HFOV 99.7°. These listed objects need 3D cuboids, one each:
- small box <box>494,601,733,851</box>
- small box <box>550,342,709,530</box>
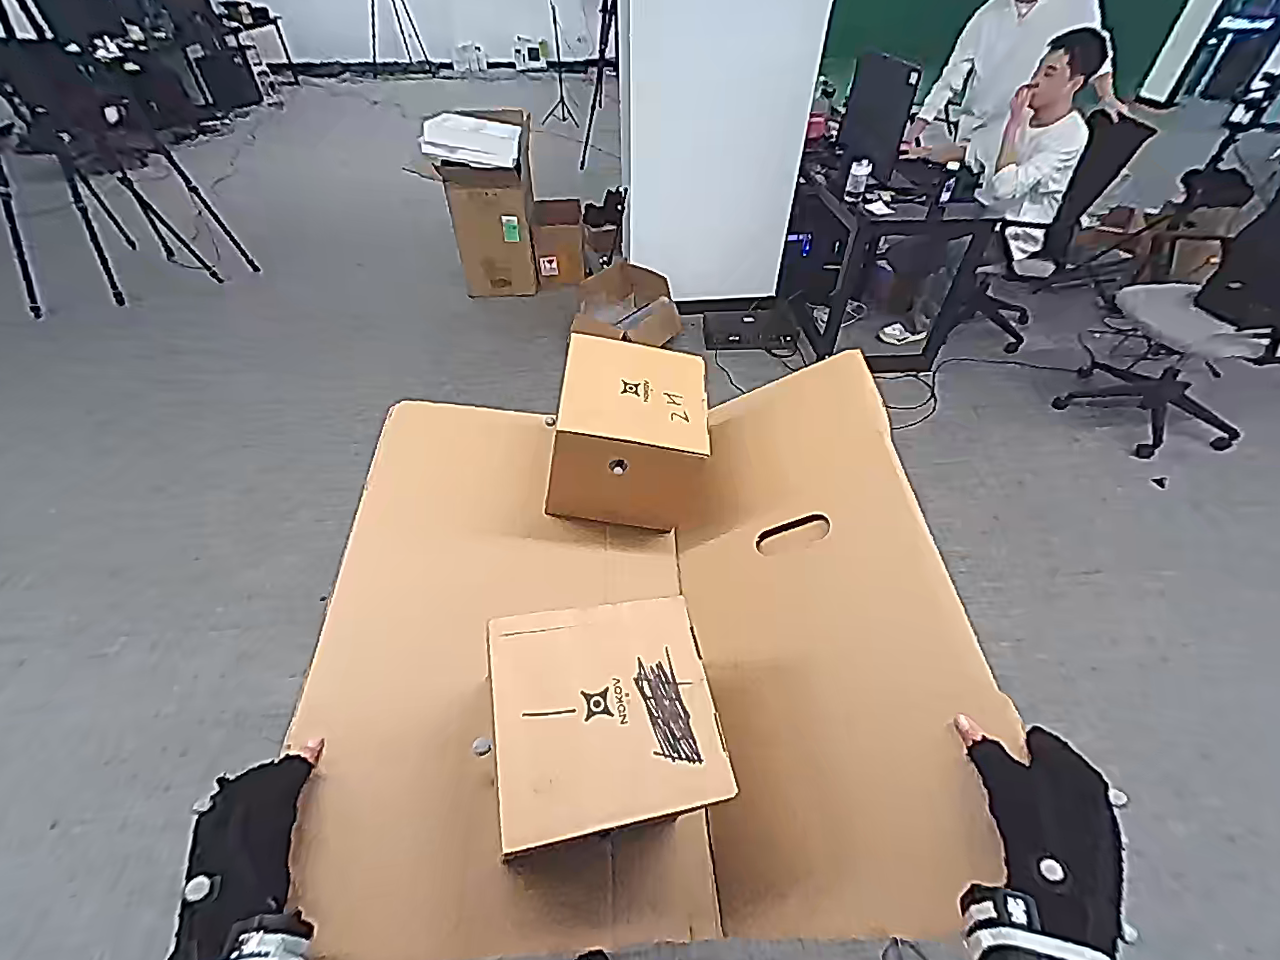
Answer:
[{"bbox_3d":[-0.041,0.227,0.499,0.179,0.176,0.168,-3,55,-17],"label":"small box"},{"bbox_3d":[-0.018,-0.050,0.713,0.179,0.176,0.168,10,53,-9],"label":"small box"}]
